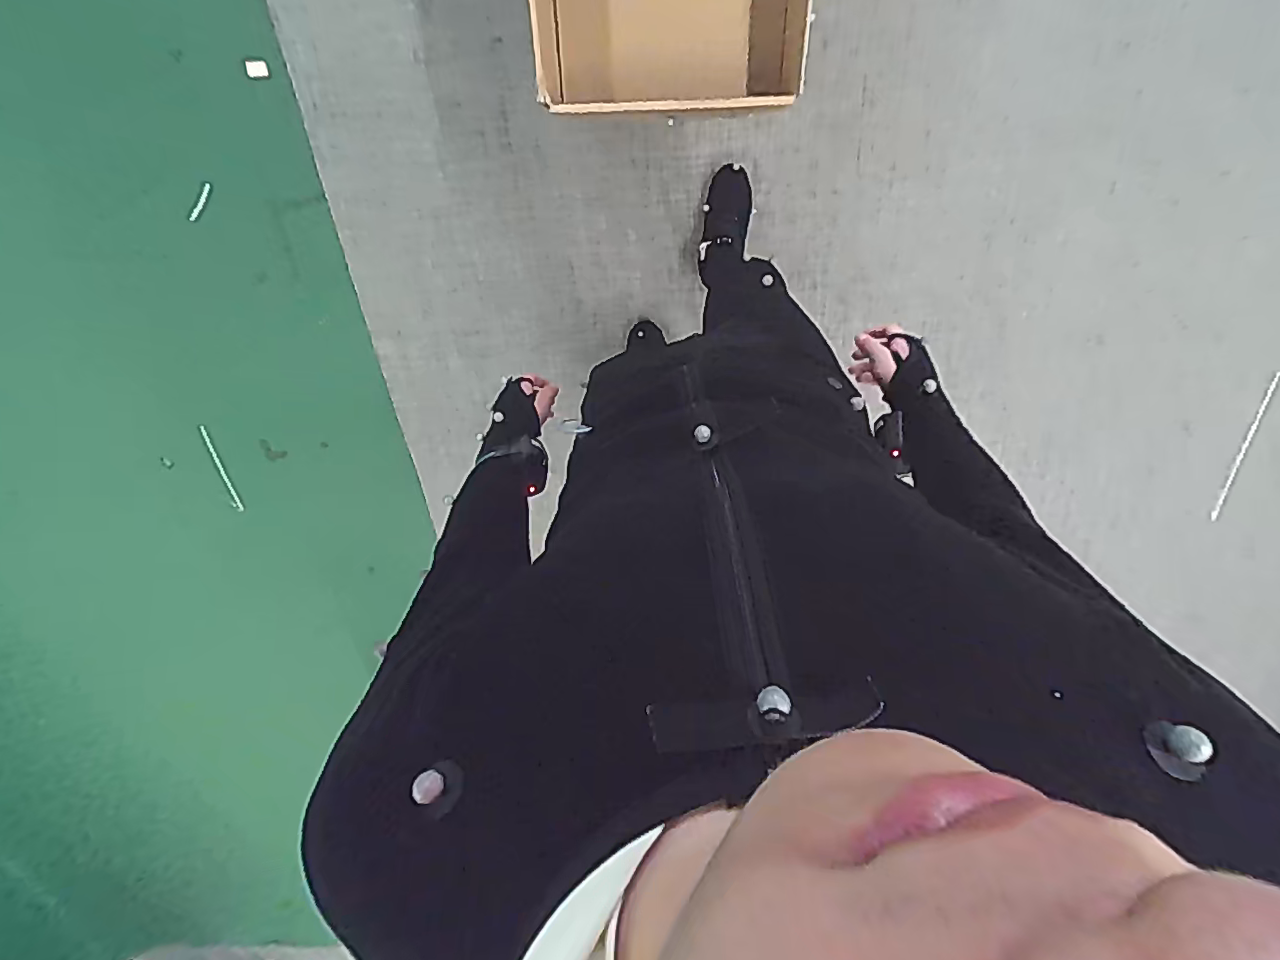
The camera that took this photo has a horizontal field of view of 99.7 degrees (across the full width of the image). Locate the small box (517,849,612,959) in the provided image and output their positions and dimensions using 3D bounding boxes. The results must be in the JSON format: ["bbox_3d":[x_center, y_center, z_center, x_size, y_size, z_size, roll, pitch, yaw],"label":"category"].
[{"bbox_3d":[-0.187,1.112,1.411,0.179,0.176,0.168,-36,111,18],"label":"small box"}]

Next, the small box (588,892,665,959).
[{"bbox_3d":[-0.035,1.270,1.491,0.168,0.176,0.179,-18,116,11],"label":"small box"}]
